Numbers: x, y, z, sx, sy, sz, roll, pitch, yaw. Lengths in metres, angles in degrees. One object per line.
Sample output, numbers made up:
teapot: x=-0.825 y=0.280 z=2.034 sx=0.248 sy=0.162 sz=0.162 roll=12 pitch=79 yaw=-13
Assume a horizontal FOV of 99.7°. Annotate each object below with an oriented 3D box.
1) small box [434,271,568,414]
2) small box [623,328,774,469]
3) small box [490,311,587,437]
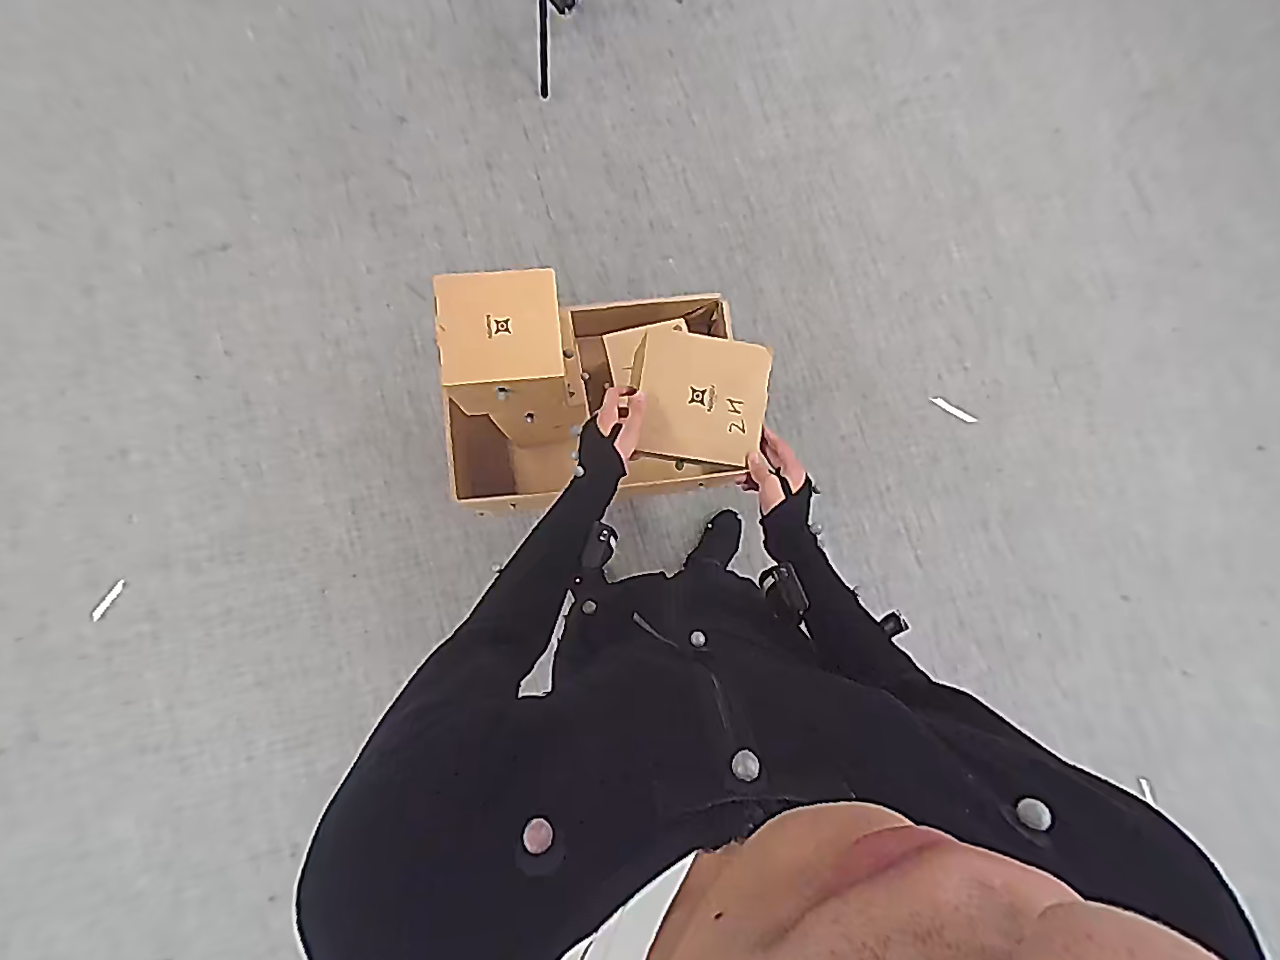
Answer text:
small box: x=-0.206 y=-0.206 z=0.846 sx=0.179 sy=0.176 sz=0.168 roll=-6 pitch=84 yaw=-5
small box: x=0.074 y=-0.107 z=0.790 sx=0.179 sy=0.176 sz=0.168 roll=8 pitch=91 yaw=-7
small box: x=-0.193 y=-0.190 z=1.010 sx=0.168 sy=0.176 sz=0.179 roll=-9 pitch=84 yaw=-5
